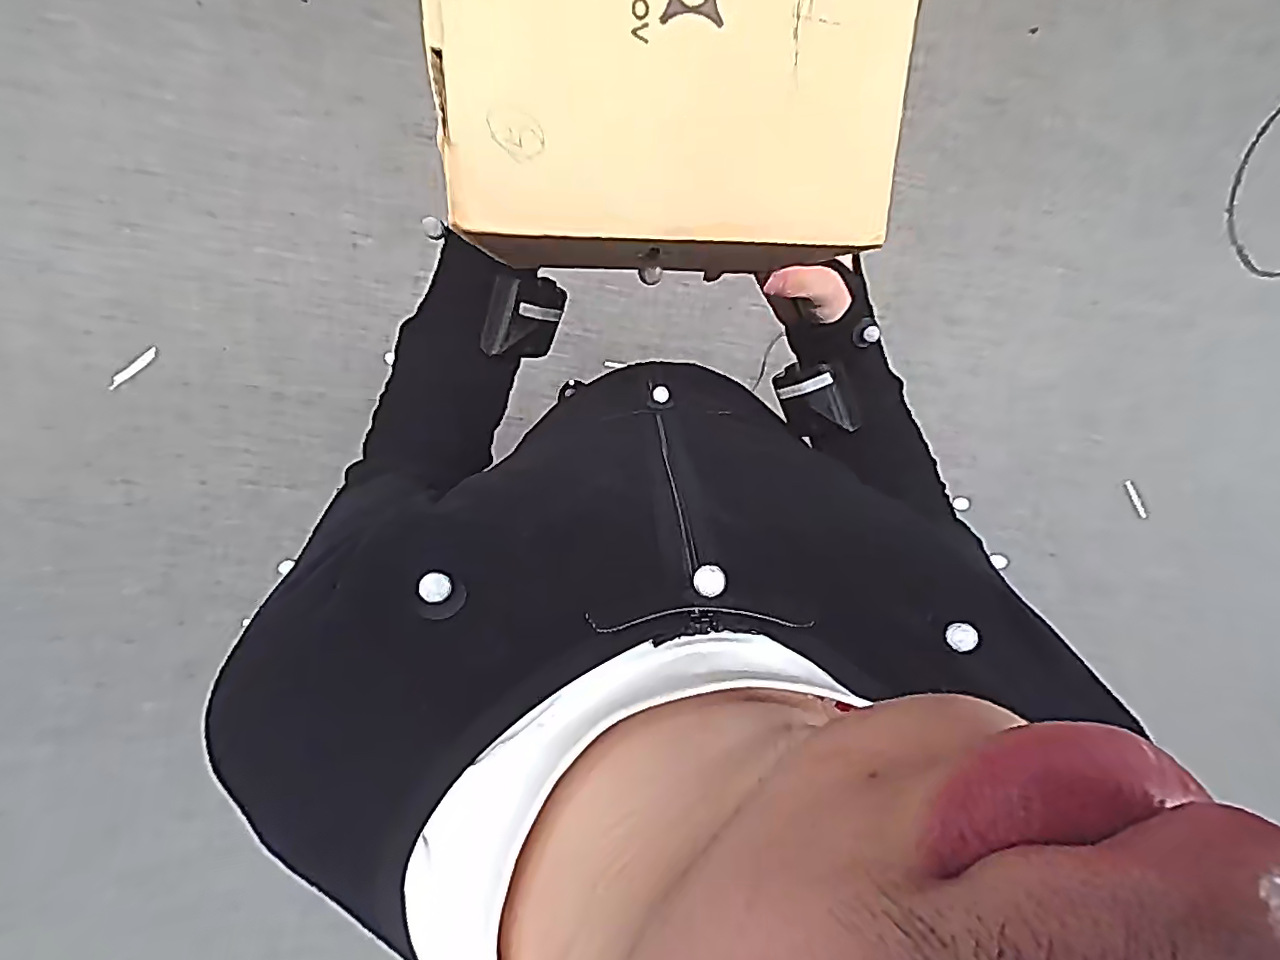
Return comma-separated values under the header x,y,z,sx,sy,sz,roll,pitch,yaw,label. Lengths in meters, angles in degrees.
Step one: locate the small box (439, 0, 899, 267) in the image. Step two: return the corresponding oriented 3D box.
x,y,z,sx,sy,sz,roll,pitch,yaw,label
0.007,-0.203,0.277,0.179,0.176,0.168,-1,108,-5,small box
